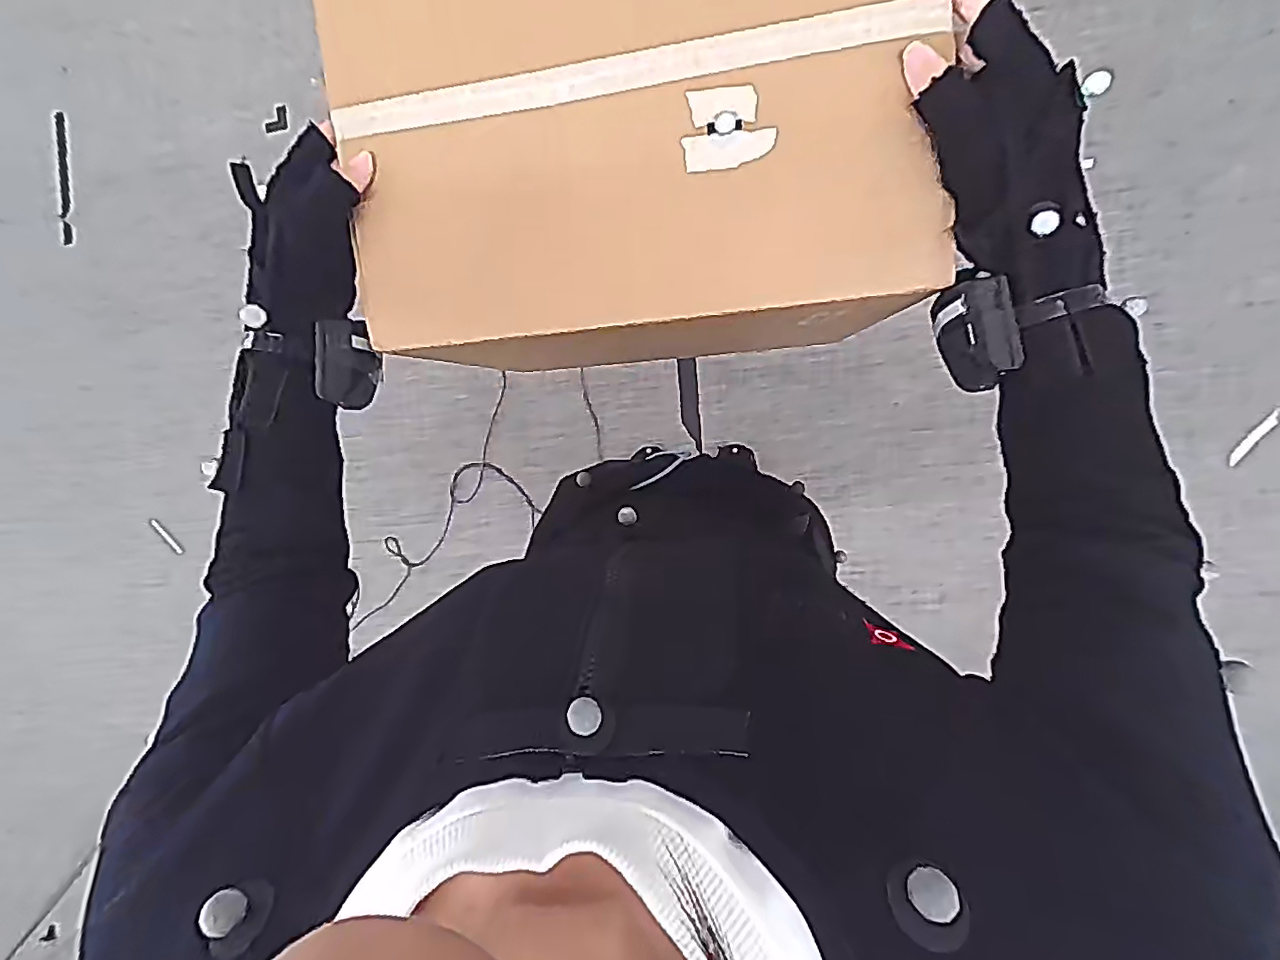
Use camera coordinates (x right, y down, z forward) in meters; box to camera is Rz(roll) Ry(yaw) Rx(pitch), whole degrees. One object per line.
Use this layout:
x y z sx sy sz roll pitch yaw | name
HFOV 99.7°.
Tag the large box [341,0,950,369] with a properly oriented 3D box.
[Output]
0.010 -0.291 0.510 0.408 0.320 0.320 -5 98 7 | large box
